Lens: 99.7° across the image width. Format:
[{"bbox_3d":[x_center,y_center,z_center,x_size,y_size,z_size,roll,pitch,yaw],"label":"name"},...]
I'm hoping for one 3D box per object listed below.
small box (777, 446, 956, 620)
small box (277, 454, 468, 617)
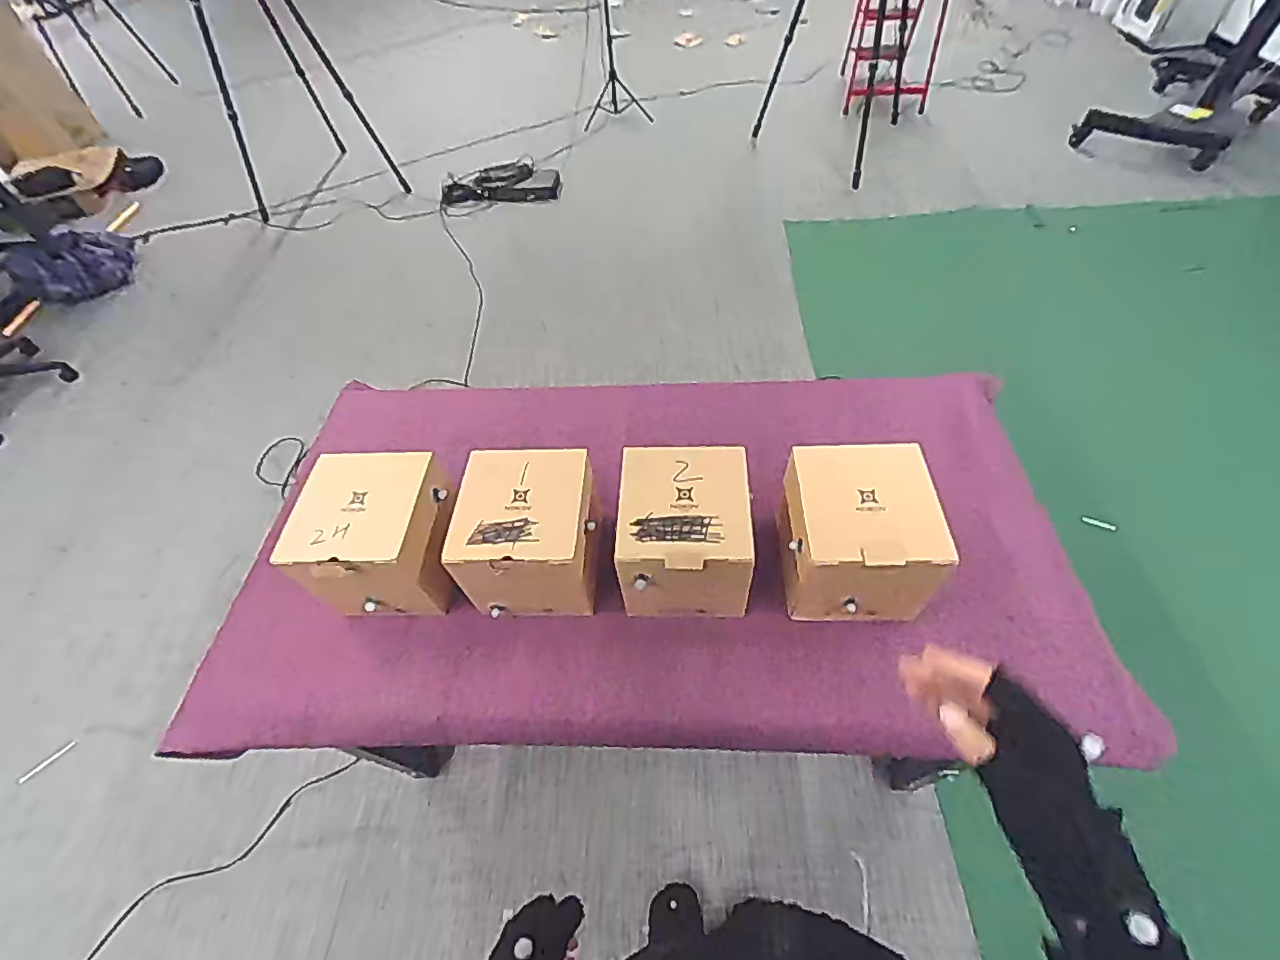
[{"bbox_3d":[0.285,0.072,0.730,0.168,0.176,0.179,-1,54,5],"label":"small box"},{"bbox_3d":[-0.365,0.081,0.781,0.168,0.176,0.179,-1,54,5],"label":"small box"}]
